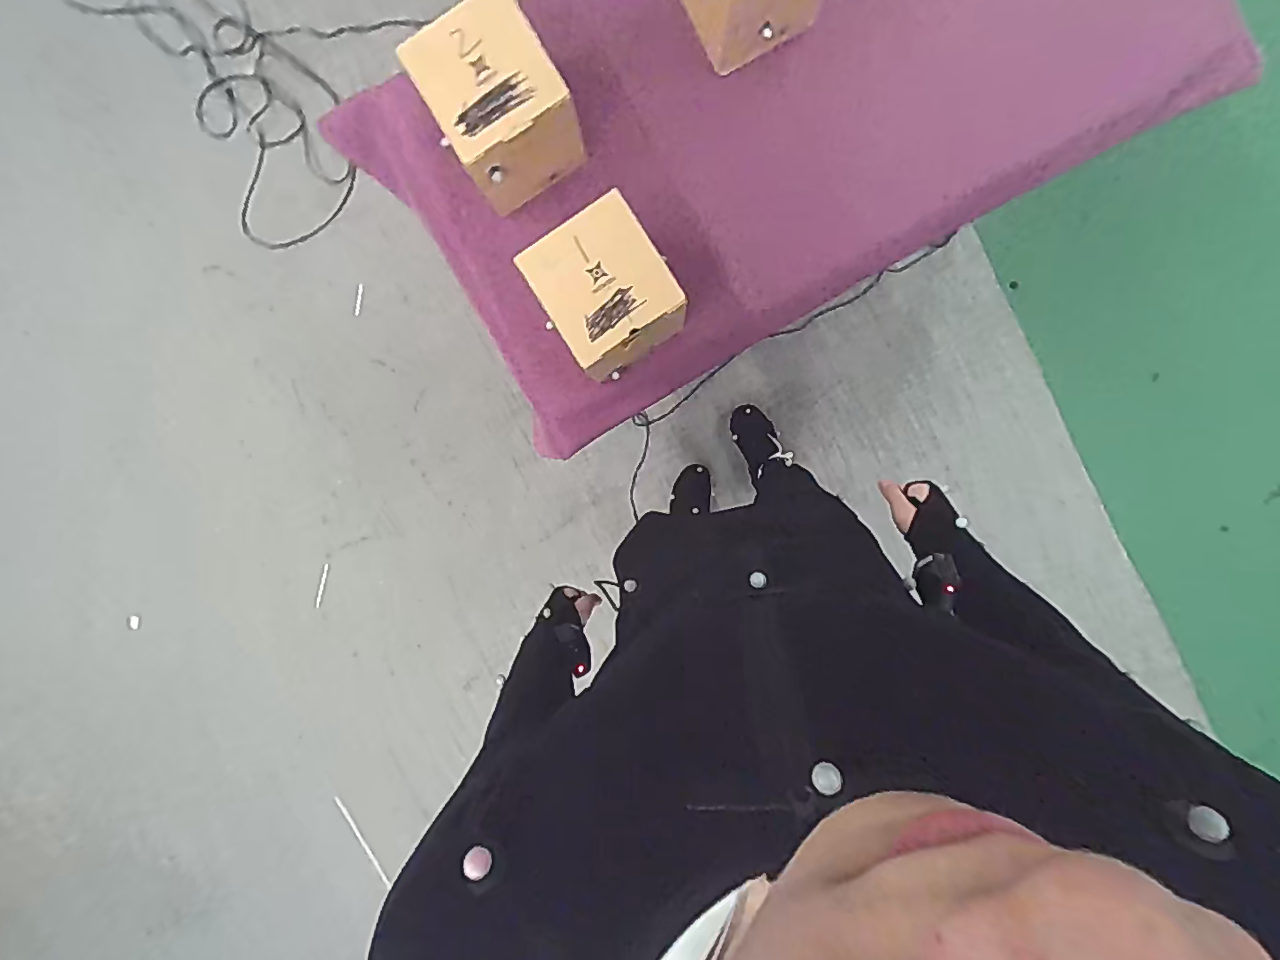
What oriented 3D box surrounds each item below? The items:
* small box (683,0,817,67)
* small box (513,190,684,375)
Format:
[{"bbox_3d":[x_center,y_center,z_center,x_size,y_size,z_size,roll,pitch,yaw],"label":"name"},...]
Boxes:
[{"bbox_3d":[0.150,-0.736,0.746,0.168,0.176,0.179,-28,94,3],"label":"small box"},{"bbox_3d":[-0.050,-0.267,0.785,0.168,0.176,0.179,-33,91,4],"label":"small box"}]
